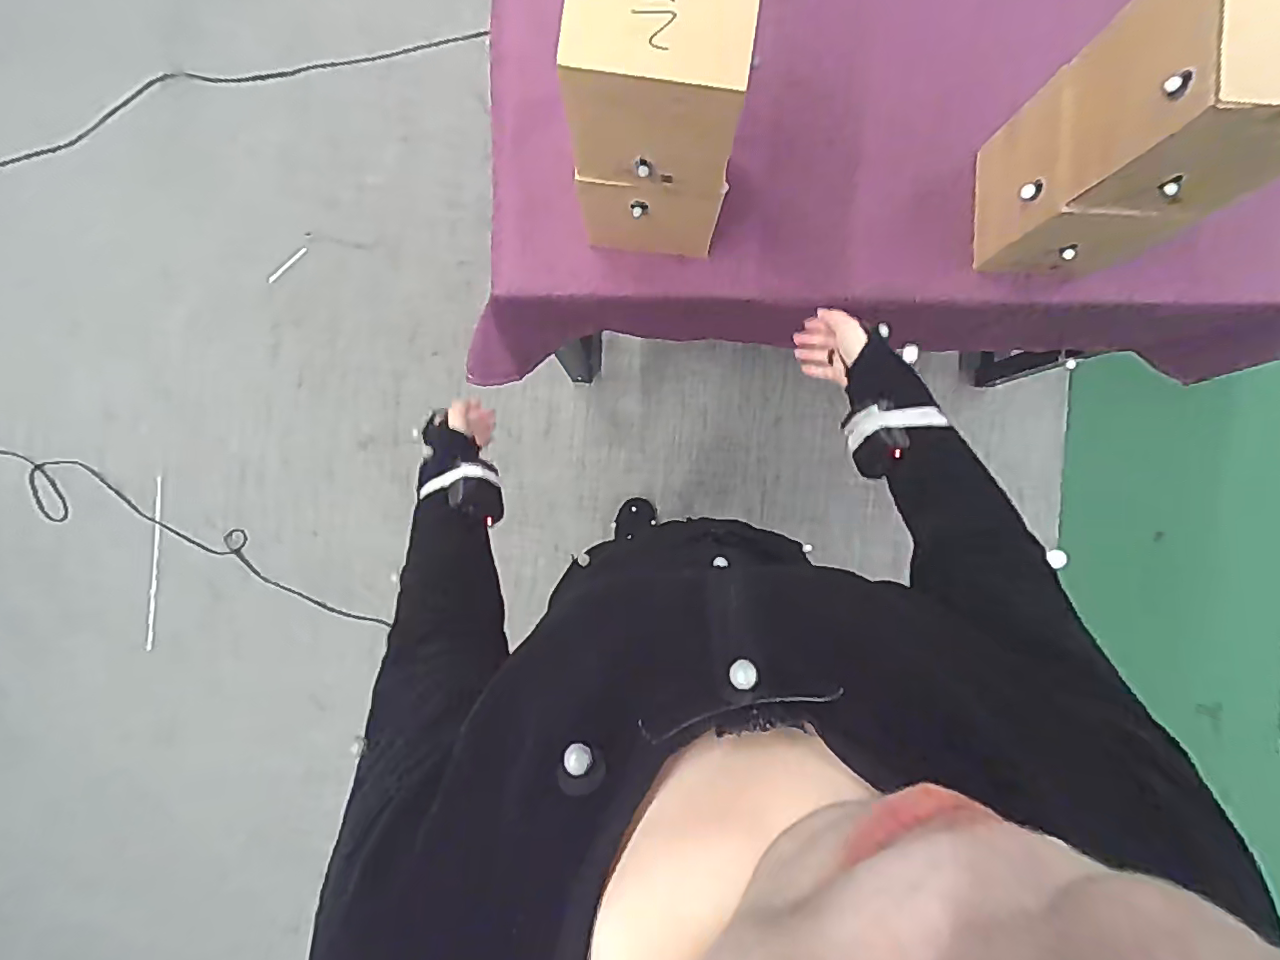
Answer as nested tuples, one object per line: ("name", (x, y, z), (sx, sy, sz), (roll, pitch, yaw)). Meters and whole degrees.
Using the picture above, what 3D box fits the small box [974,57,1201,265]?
("small box", (0.562, -0.395, 0.699), (0.168, 0.176, 0.179), (2, 89, 0))

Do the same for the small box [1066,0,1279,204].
("small box", (0.567, -0.404, 0.536), (0.168, 0.176, 0.179), (2, 90, 0))

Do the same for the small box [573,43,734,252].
("small box", (0.016, -0.415, 0.702), (0.179, 0.176, 0.168), (4, 89, -1))
